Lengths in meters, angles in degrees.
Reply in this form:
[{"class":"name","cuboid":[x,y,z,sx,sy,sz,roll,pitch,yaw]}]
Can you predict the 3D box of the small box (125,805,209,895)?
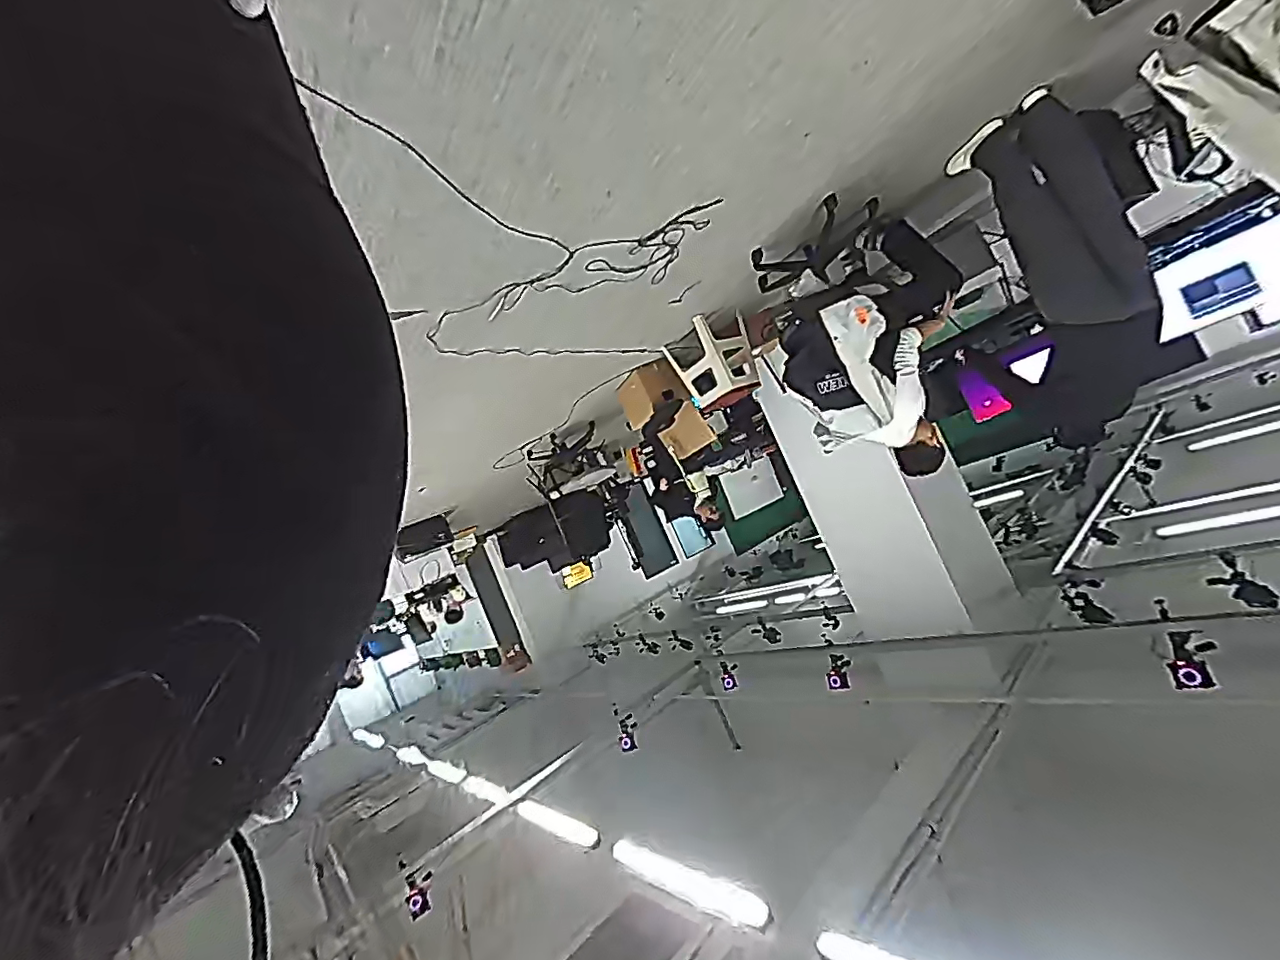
[{"class":"small box","cuboid":[-1.618,1.257,1.857,0.168,0.176,0.179,-20,176,-32]}]
